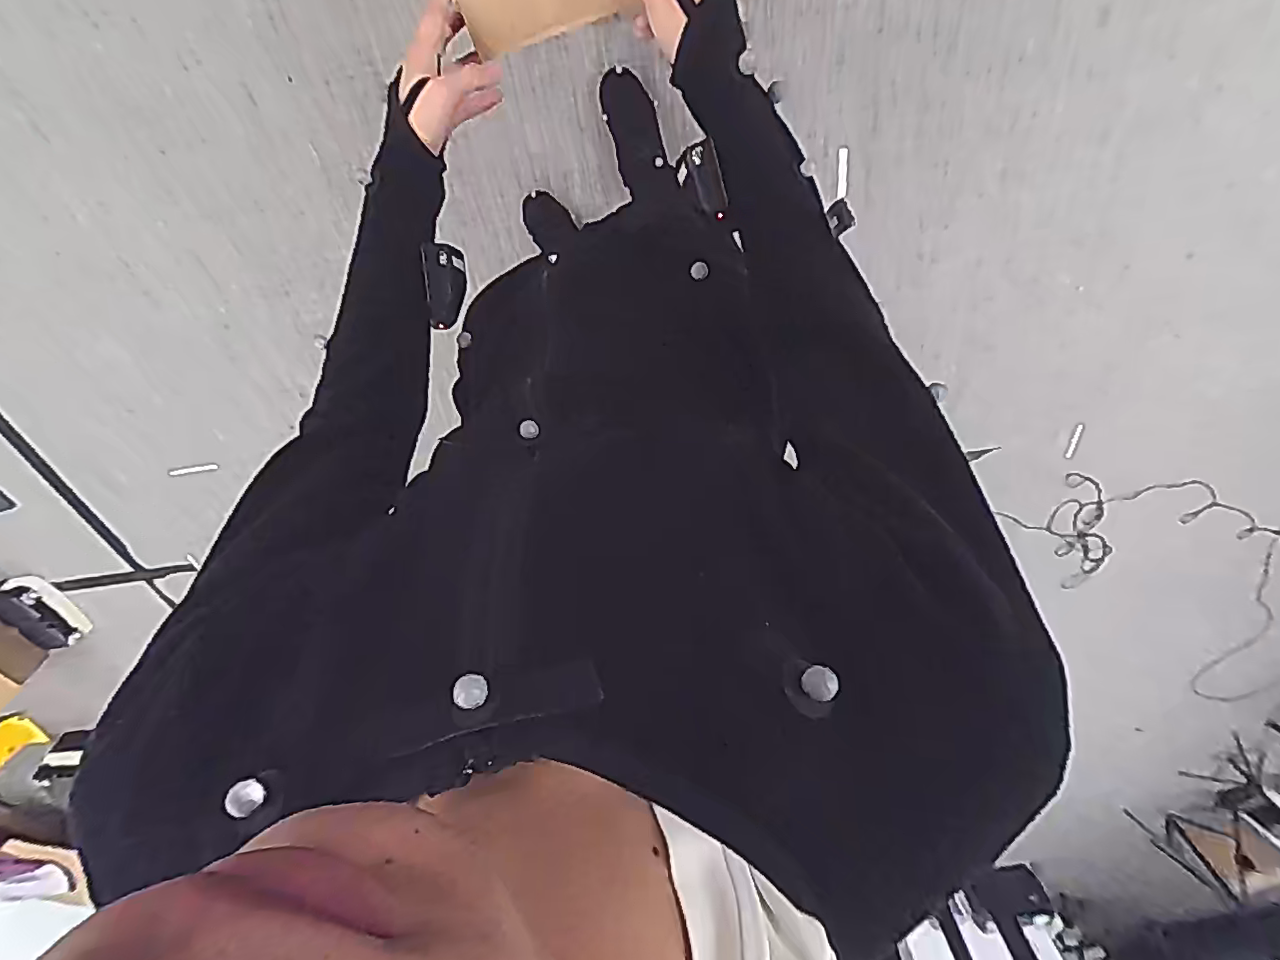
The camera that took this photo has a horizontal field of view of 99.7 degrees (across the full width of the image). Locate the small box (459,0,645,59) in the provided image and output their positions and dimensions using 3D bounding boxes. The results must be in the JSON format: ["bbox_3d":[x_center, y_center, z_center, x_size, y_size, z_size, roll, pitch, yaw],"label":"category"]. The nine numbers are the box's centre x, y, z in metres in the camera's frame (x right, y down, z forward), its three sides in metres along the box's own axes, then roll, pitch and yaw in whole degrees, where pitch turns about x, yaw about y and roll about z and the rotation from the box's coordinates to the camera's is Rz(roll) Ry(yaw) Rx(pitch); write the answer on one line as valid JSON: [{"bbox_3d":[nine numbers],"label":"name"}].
[{"bbox_3d":[-0.086,-0.506,0.466,0.179,0.176,0.168,-13,137,9],"label":"small box"}]
